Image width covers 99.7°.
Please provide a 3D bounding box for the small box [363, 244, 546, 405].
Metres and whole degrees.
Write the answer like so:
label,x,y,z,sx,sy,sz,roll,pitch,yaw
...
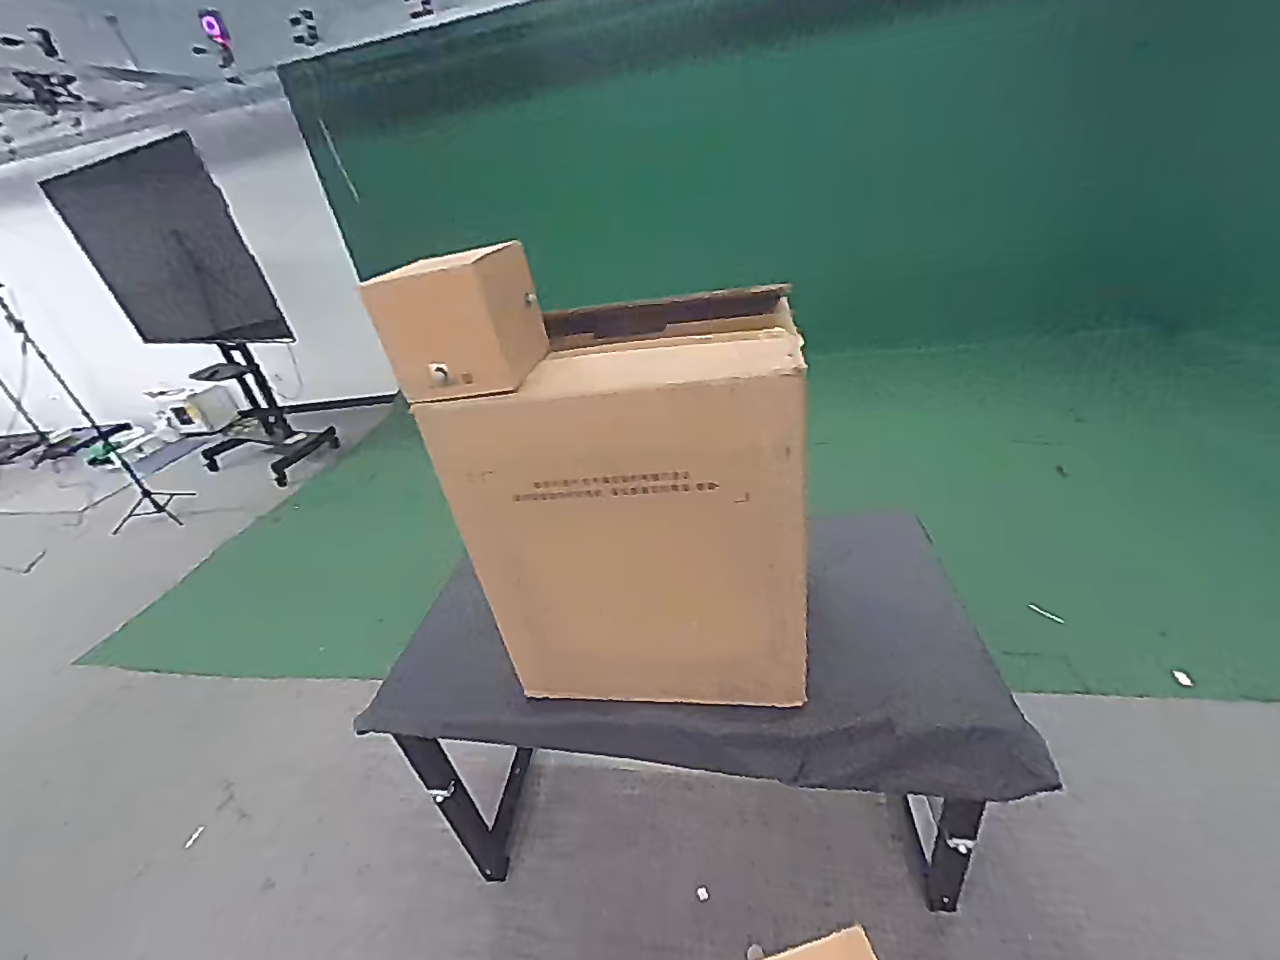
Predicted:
label,x,y,z,sx,sy,sz,roll,pitch,yaw
small box,-0.247,-0.223,0.774,0.168,0.176,0.179,-7,31,12
